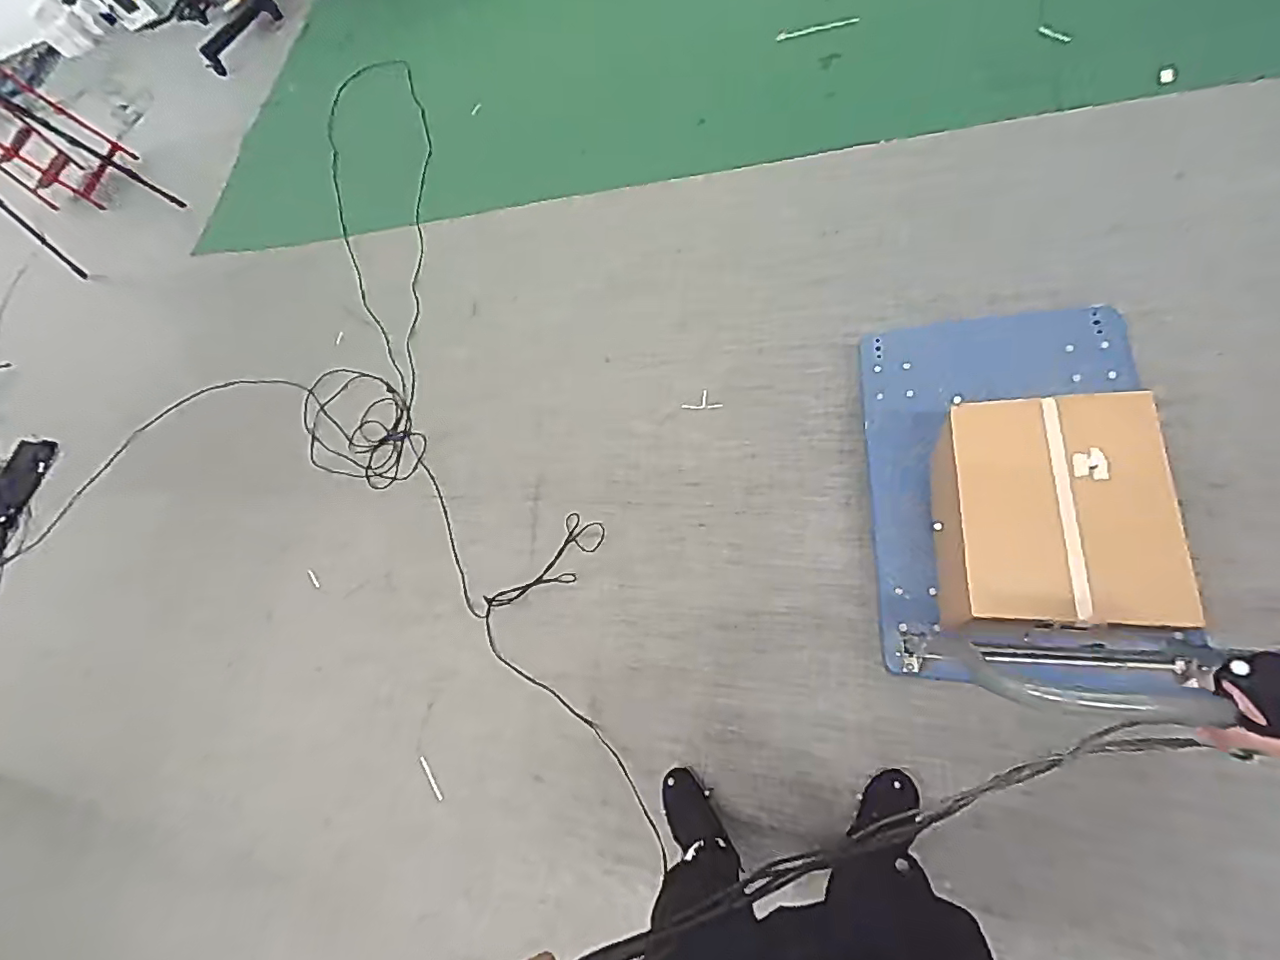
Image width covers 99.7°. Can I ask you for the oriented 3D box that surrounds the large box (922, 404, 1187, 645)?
[{"bbox_3d":[0.769,0.106,1.081,0.320,0.320,0.408,-1,69,19],"label":"large box"}]
